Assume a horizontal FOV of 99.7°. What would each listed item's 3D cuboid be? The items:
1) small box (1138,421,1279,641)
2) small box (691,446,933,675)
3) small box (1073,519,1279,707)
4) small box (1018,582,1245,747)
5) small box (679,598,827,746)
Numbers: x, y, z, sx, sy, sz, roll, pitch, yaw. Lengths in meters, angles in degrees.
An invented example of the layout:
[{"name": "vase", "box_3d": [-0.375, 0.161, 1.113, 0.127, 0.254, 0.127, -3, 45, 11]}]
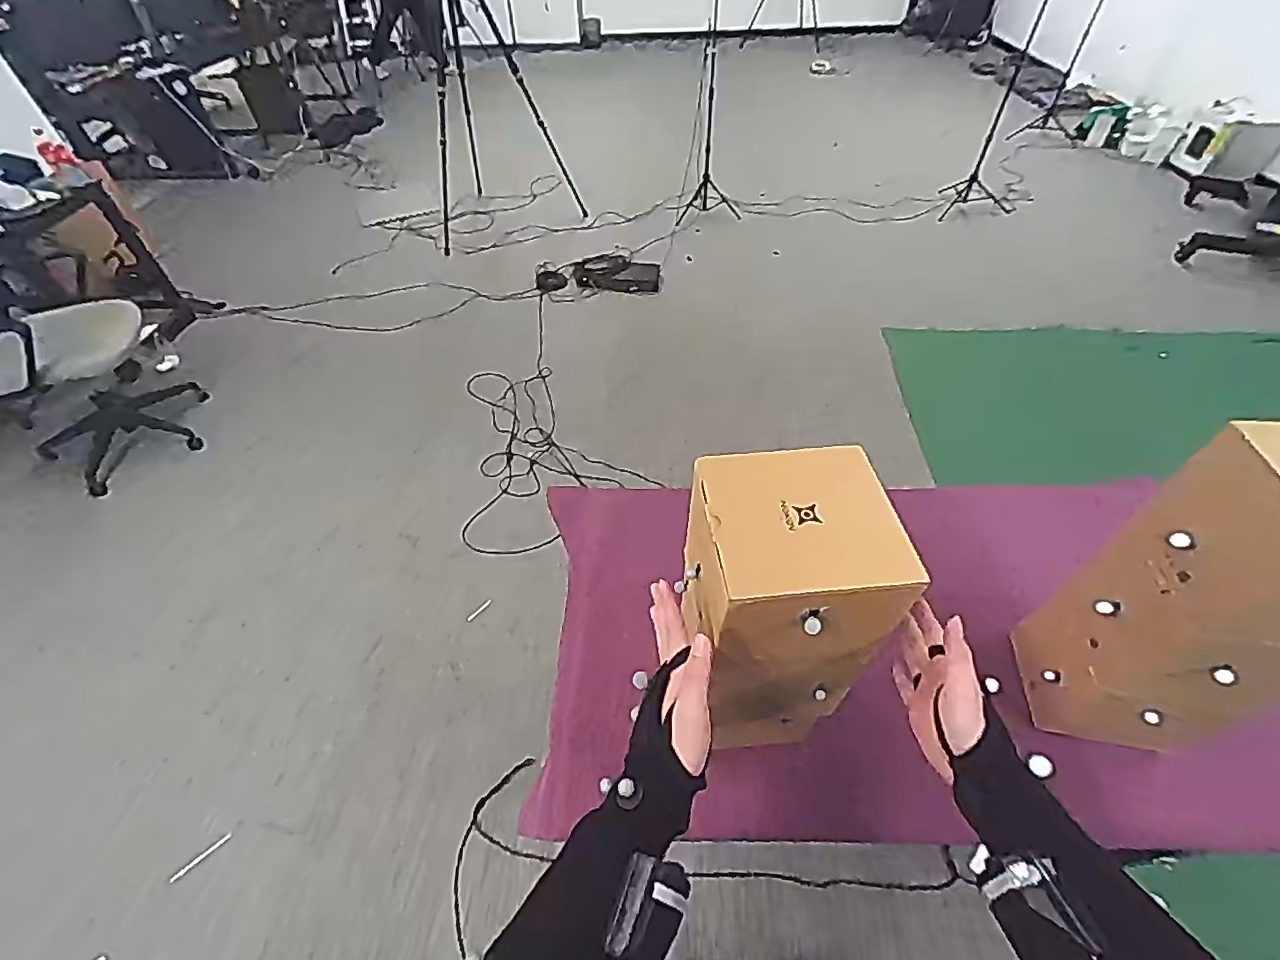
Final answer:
[{"name": "small box", "box_3d": [0.694, 0.060, 0.561, 0.179, 0.176, 0.168, 5, 49, 7]}, {"name": "small box", "box_3d": [0.153, 0.086, 0.557, 0.179, 0.176, 0.168, -5, 50, -3]}, {"name": "small box", "box_3d": [0.697, 0.171, 0.684, 0.179, 0.176, 0.168, 5, 50, 8]}, {"name": "small box", "box_3d": [0.701, 0.278, 0.807, 0.179, 0.176, 0.168, 8, 50, 9]}, {"name": "small box", "box_3d": [0.156, 0.288, 0.814, 0.179, 0.176, 0.168, -4, 49, -1]}]
